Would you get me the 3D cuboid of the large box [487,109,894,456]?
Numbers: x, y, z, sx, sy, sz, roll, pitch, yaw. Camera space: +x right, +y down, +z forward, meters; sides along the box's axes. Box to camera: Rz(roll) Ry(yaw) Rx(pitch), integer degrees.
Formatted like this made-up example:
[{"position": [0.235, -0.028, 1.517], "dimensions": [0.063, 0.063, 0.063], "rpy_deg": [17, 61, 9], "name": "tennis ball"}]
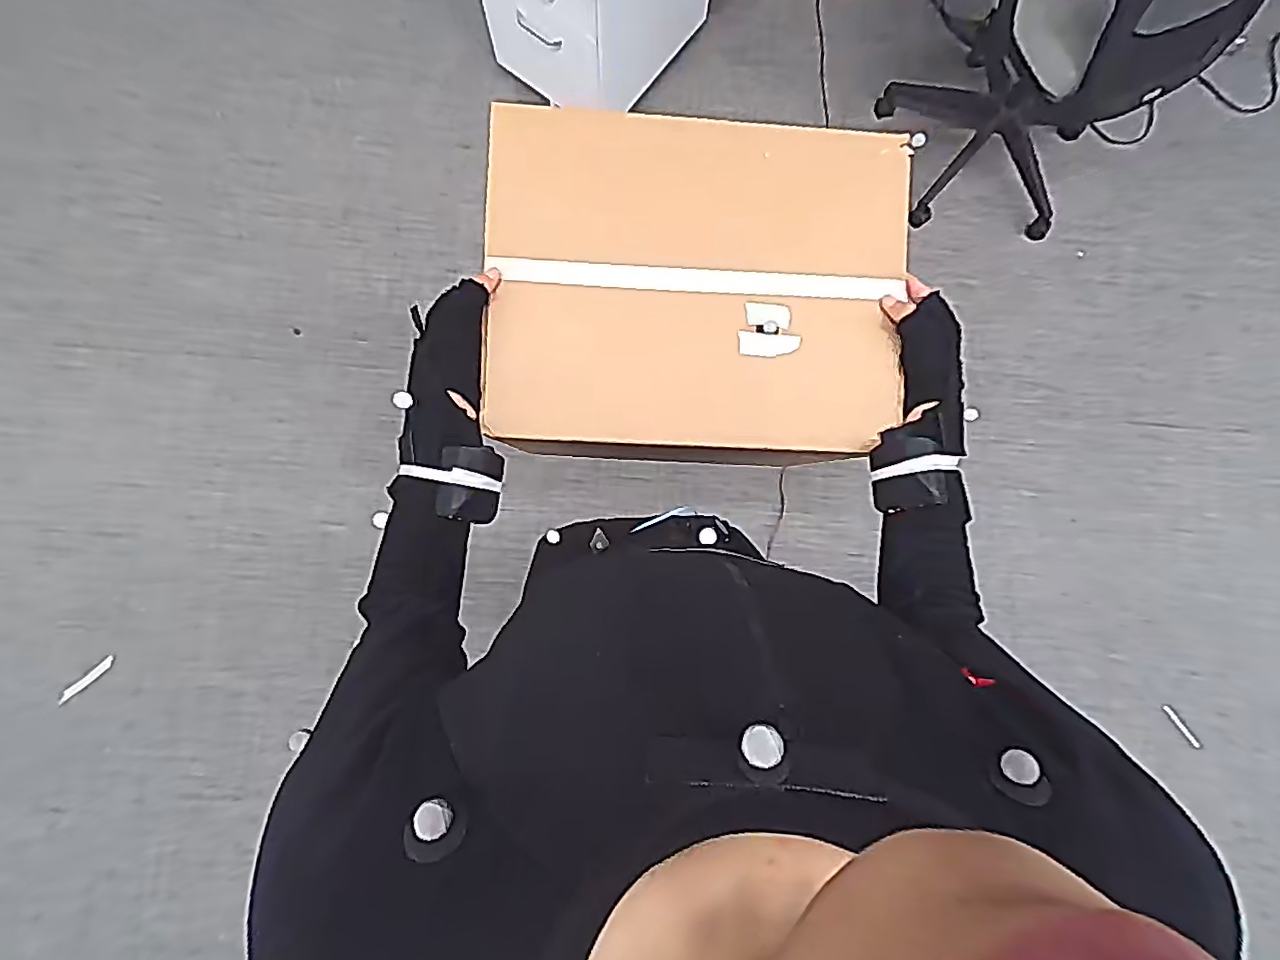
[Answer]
[{"position": [0.042, -0.197, 0.678], "dimensions": [0.408, 0.320, 0.320], "rpy_deg": [3, 91, -4], "name": "large box"}]
